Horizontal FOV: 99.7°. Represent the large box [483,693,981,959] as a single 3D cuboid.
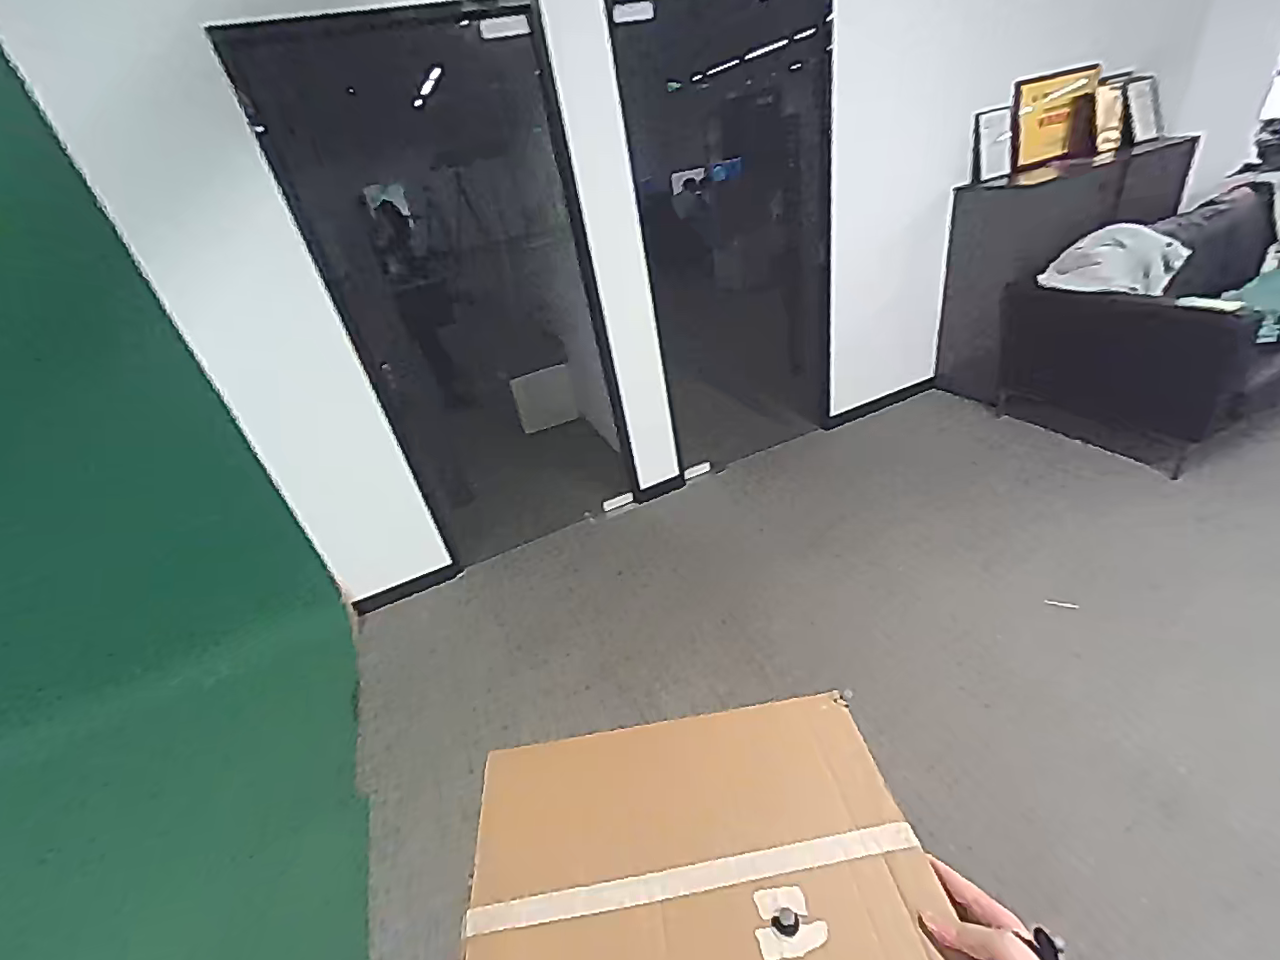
[{"bbox_3d":[0.069,0.480,0.570,0.408,0.320,0.320,-7,33,-4],"label":"large box"}]
